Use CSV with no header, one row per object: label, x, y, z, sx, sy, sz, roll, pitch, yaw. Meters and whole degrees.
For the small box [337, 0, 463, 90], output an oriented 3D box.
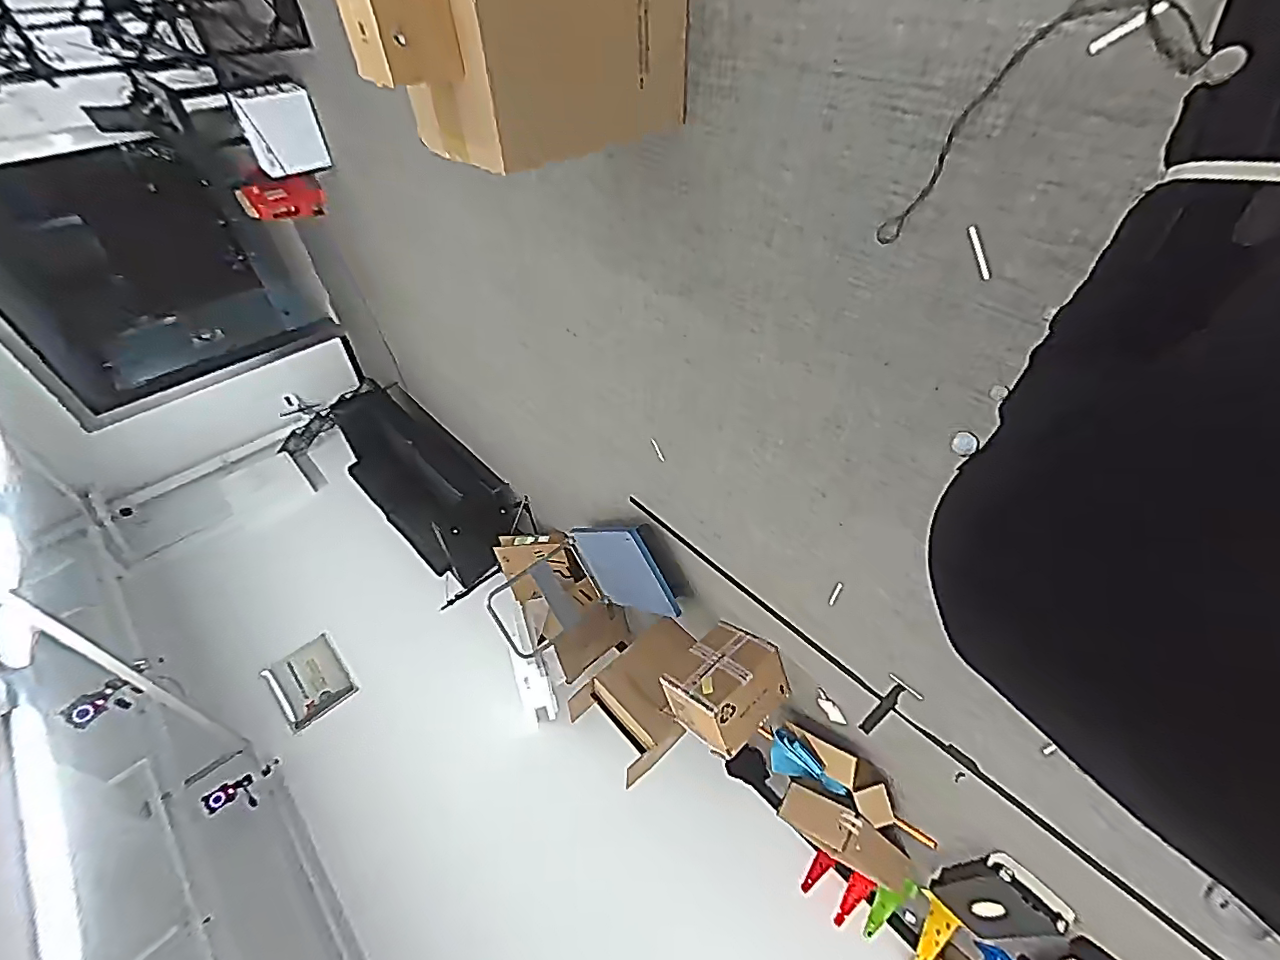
small box,-0.503,-0.949,1.137,0.168,0.176,0.179,36,147,31
